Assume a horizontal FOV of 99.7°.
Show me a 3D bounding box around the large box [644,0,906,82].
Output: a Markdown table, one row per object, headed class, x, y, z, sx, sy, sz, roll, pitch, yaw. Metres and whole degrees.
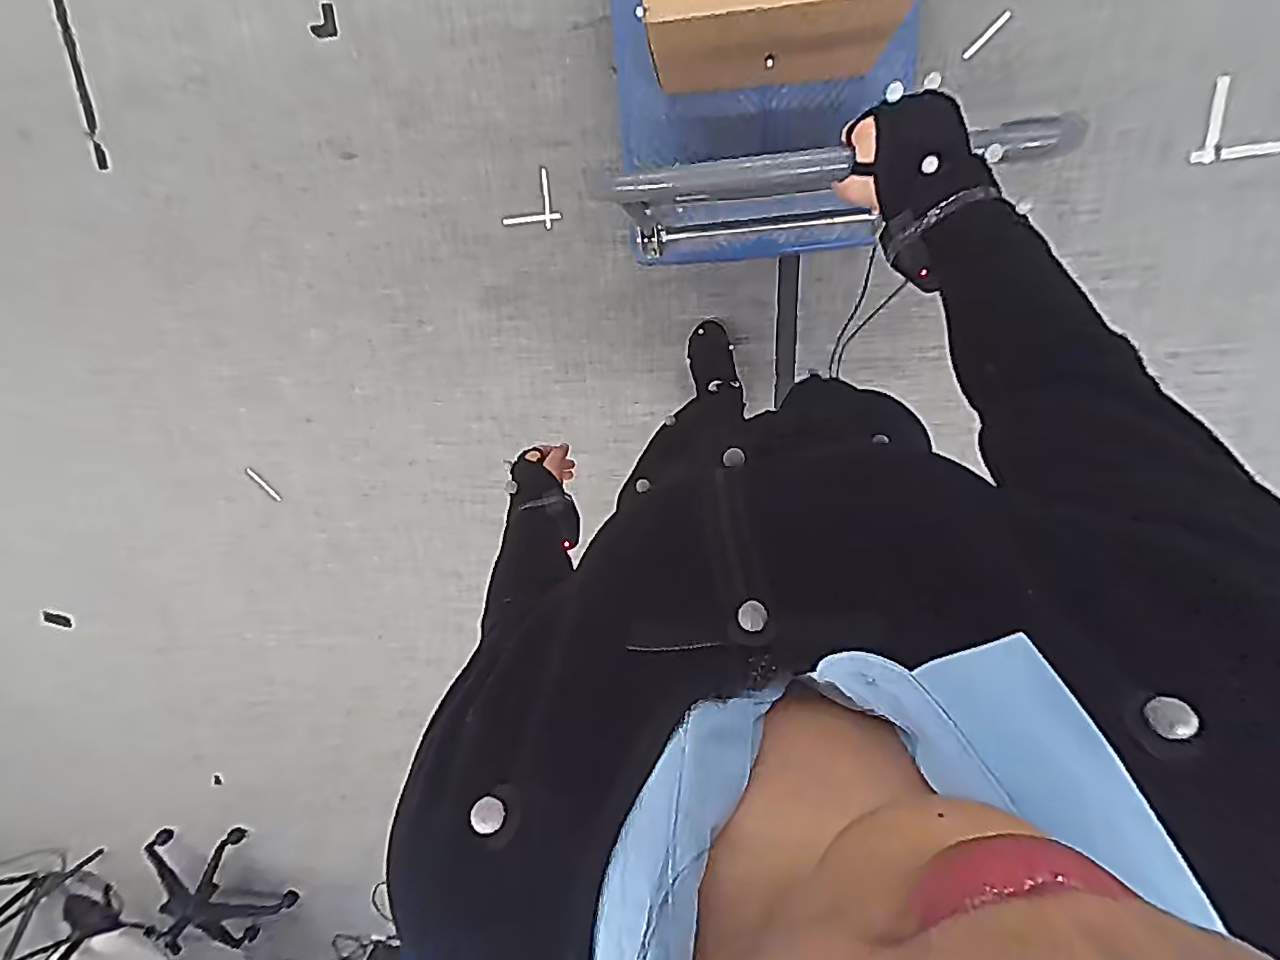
| class | x | y | z | sx | sy | sz | roll | pitch | yaw |
| --- | --- | --- | --- | --- | --- | --- | --- | --- | --- |
| large box | 0.216 | -0.893 | 0.867 | 0.408 | 0.320 | 0.320 | 0 | 107 | 9 |
